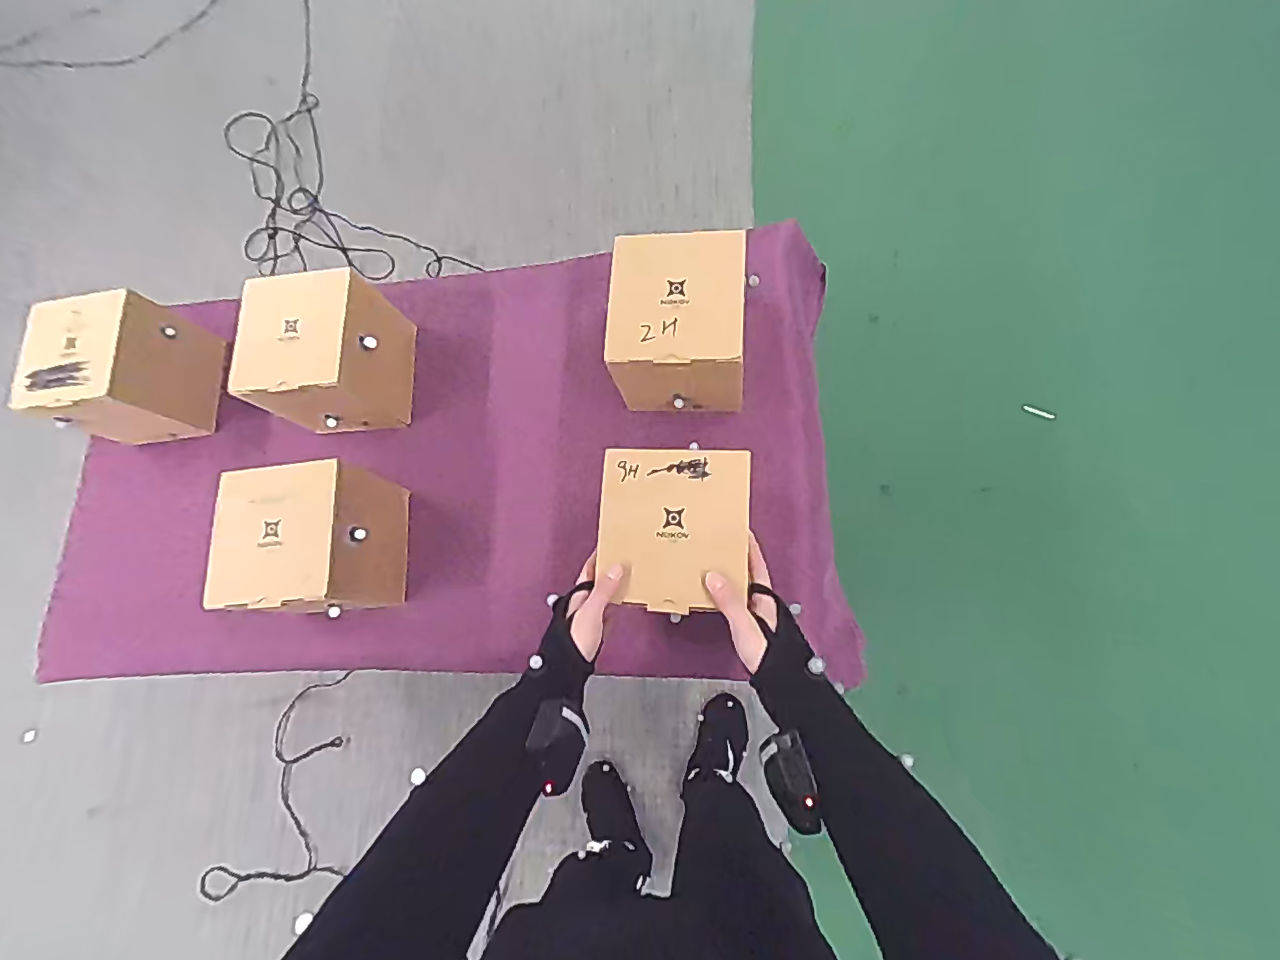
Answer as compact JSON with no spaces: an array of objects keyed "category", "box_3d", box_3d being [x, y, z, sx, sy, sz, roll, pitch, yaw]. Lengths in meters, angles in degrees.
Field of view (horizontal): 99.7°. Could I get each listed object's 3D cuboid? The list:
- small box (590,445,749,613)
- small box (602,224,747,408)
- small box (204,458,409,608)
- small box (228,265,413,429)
[{"category":"small box","box_3d":[0.046,0.064,0.657,0.168,0.176,0.179,2,78,10]},{"category":"small box","box_3d":[0.054,-0.208,0.720,0.168,0.176,0.179,2,78,11]},{"category":"small box","box_3d":[-0.438,0.082,0.738,0.168,0.176,0.179,-6,74,8]},{"category":"small box","box_3d":[-0.460,-0.188,0.806,0.168,0.176,0.179,-3,77,8]}]
